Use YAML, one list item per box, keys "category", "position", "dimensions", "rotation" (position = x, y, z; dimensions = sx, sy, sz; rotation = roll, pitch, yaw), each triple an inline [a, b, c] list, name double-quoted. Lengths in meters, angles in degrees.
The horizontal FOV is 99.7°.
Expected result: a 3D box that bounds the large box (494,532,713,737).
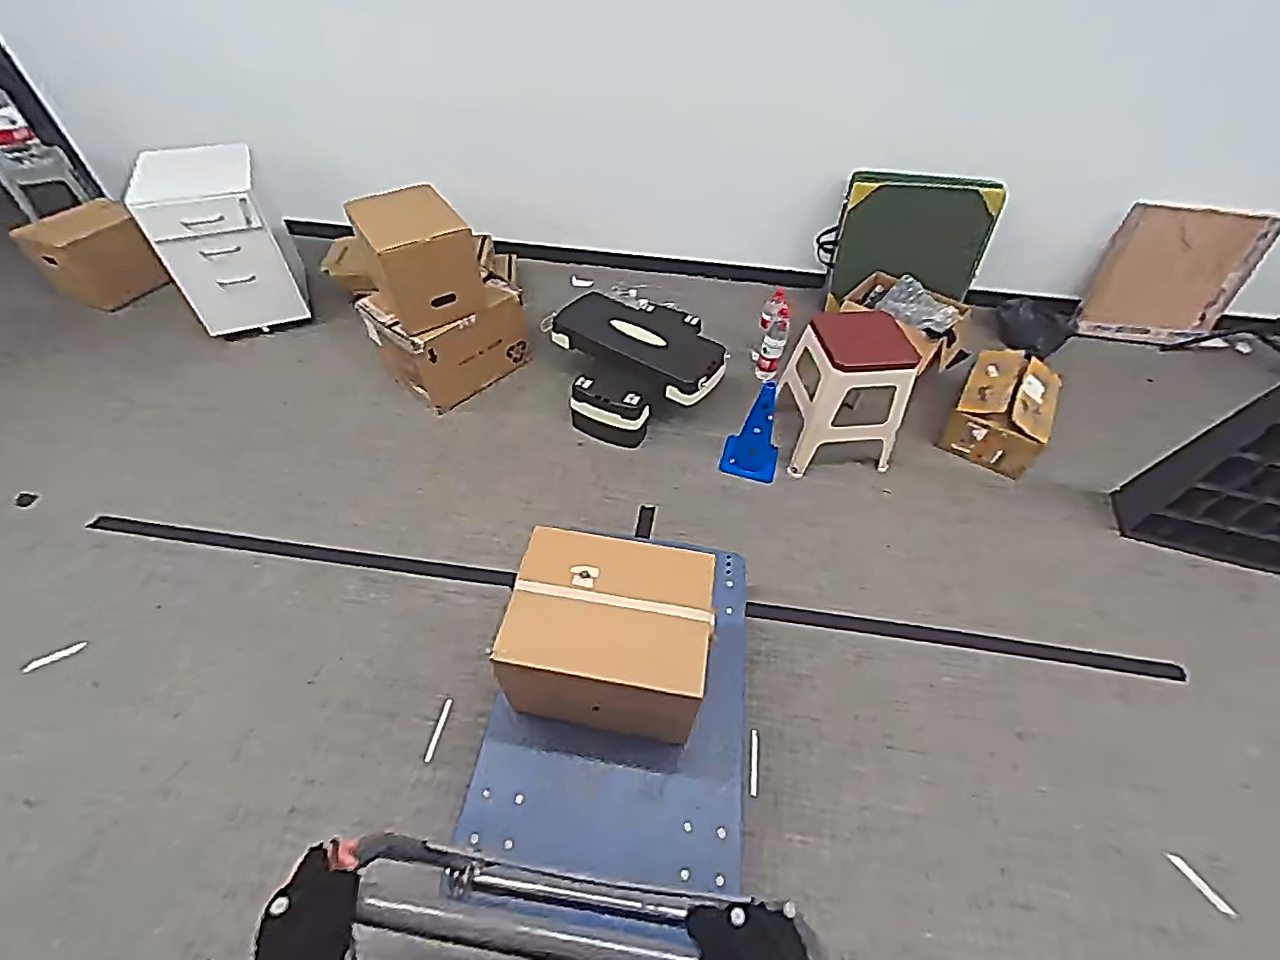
- category: "large box"
  position: [-0.060, 0.350, 1.212]
  dimensions: [0.408, 0.320, 0.320]
  rotation: [8, 50, 5]
